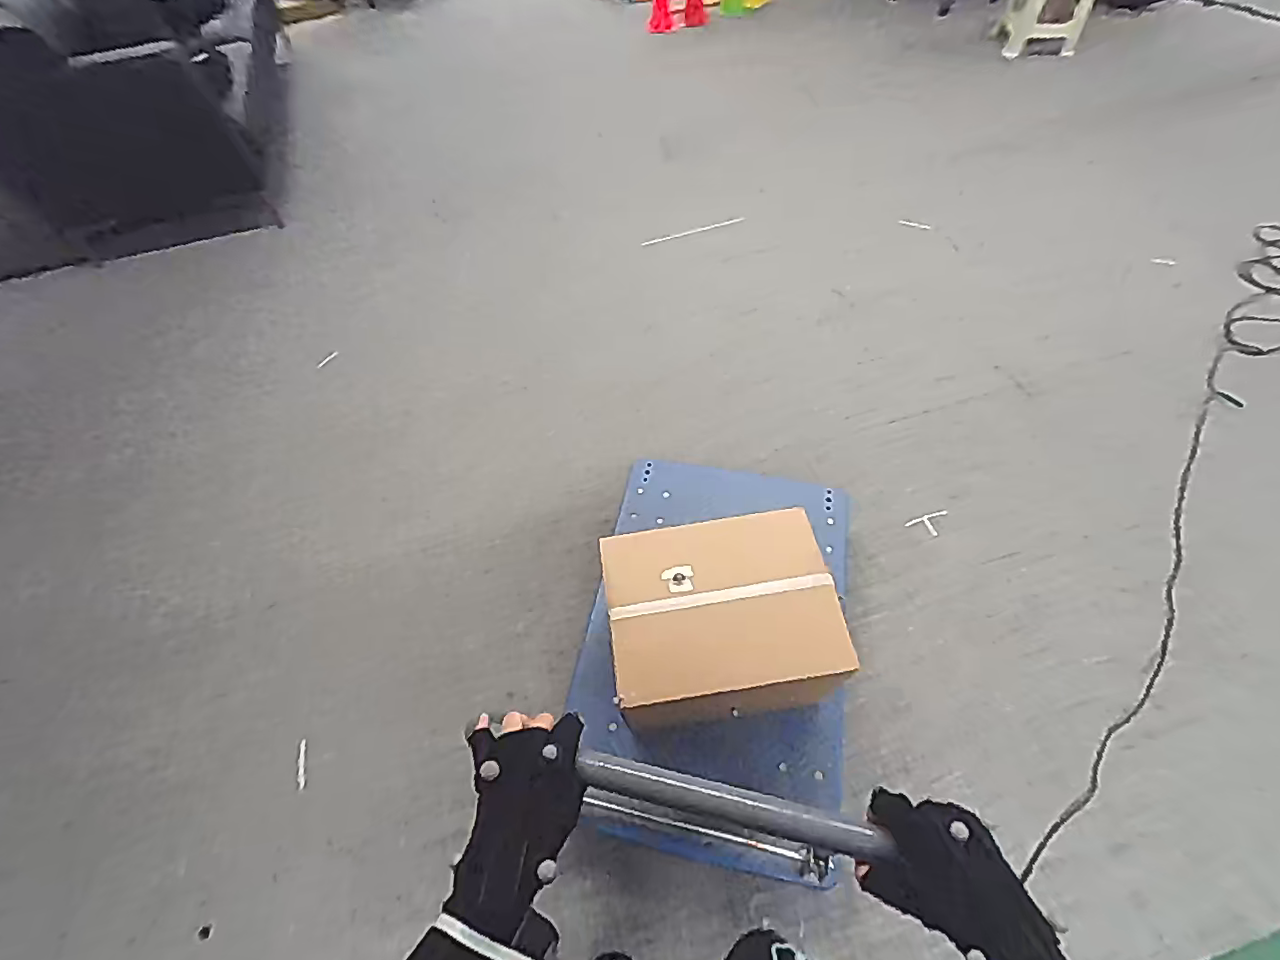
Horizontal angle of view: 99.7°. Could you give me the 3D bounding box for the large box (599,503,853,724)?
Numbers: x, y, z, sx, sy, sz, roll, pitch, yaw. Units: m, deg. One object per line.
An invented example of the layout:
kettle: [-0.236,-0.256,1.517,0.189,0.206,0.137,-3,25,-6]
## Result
large box: [0.151,0.283,1.098,0.408,0.320,0.320,-10,57,-1]
